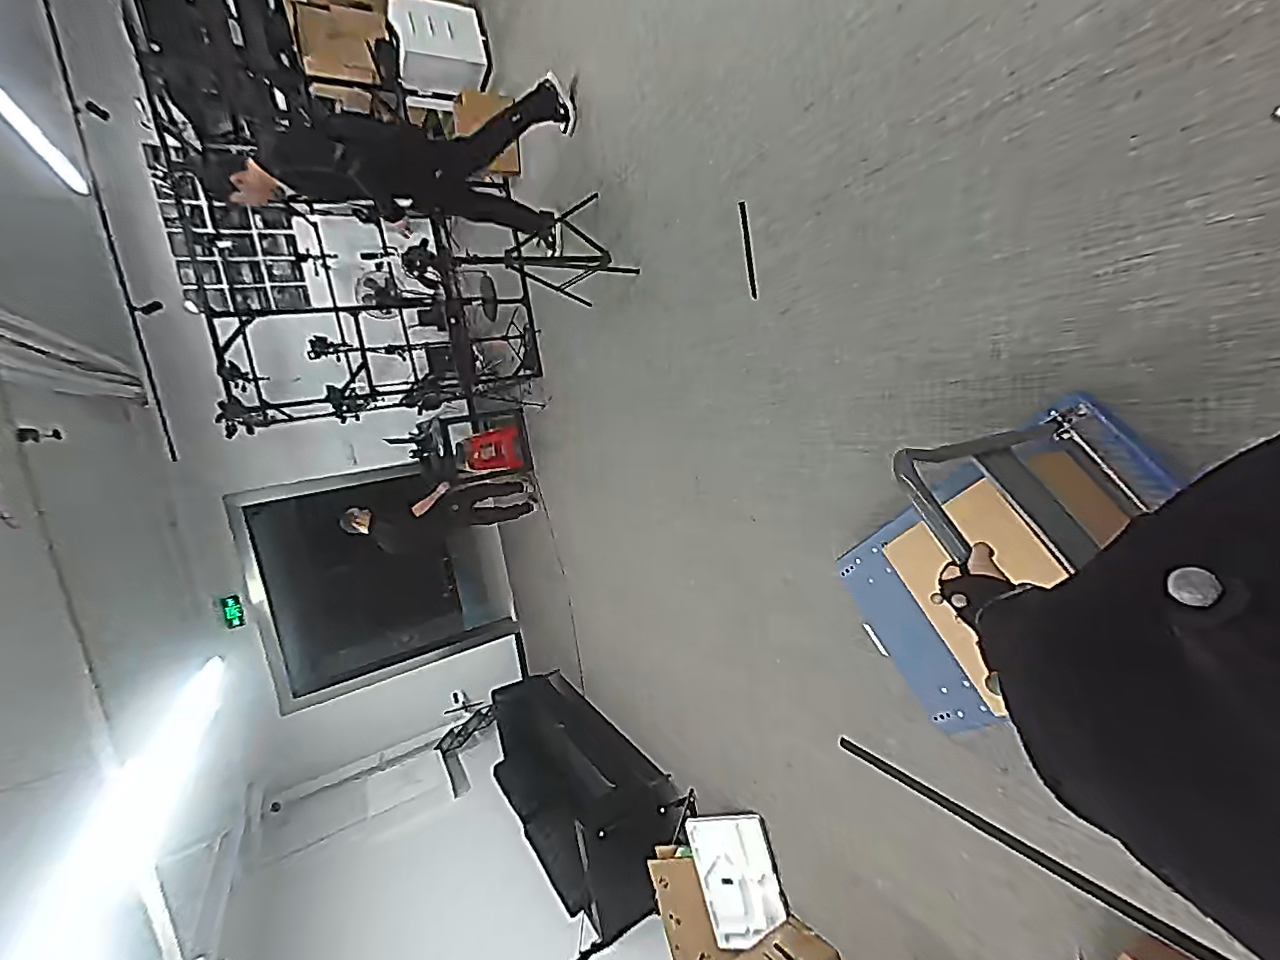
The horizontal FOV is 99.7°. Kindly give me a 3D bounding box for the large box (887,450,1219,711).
[{"bbox_3d":[0.833,0.203,1.136,0.408,0.320,0.320,64,149,24],"label":"large box"}]
